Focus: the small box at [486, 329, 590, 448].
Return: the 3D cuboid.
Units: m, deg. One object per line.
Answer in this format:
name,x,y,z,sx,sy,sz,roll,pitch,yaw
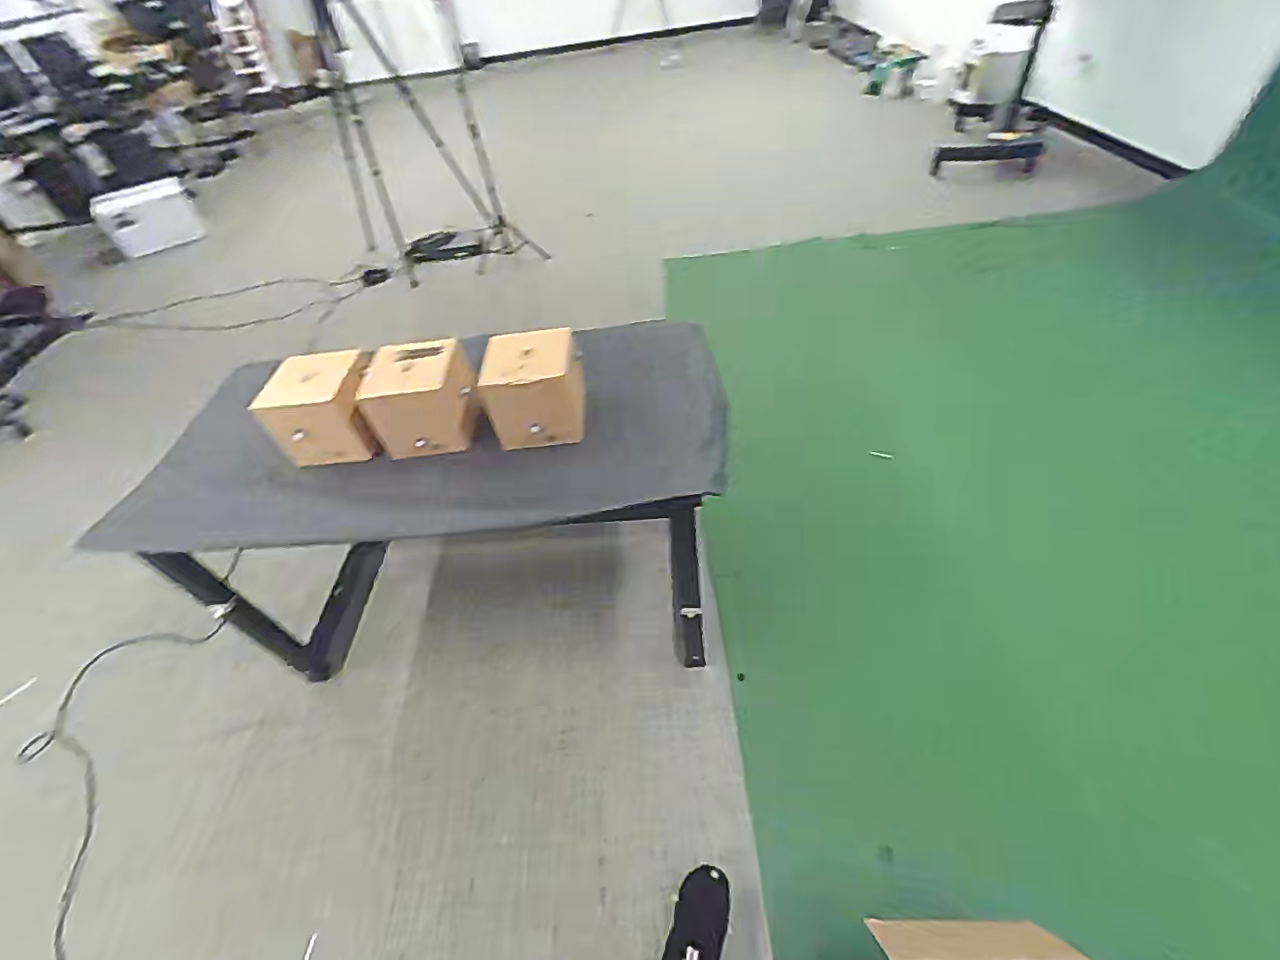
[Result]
small box,-0.201,-0.189,1.121,0.168,0.176,0.179,-6,46,4
